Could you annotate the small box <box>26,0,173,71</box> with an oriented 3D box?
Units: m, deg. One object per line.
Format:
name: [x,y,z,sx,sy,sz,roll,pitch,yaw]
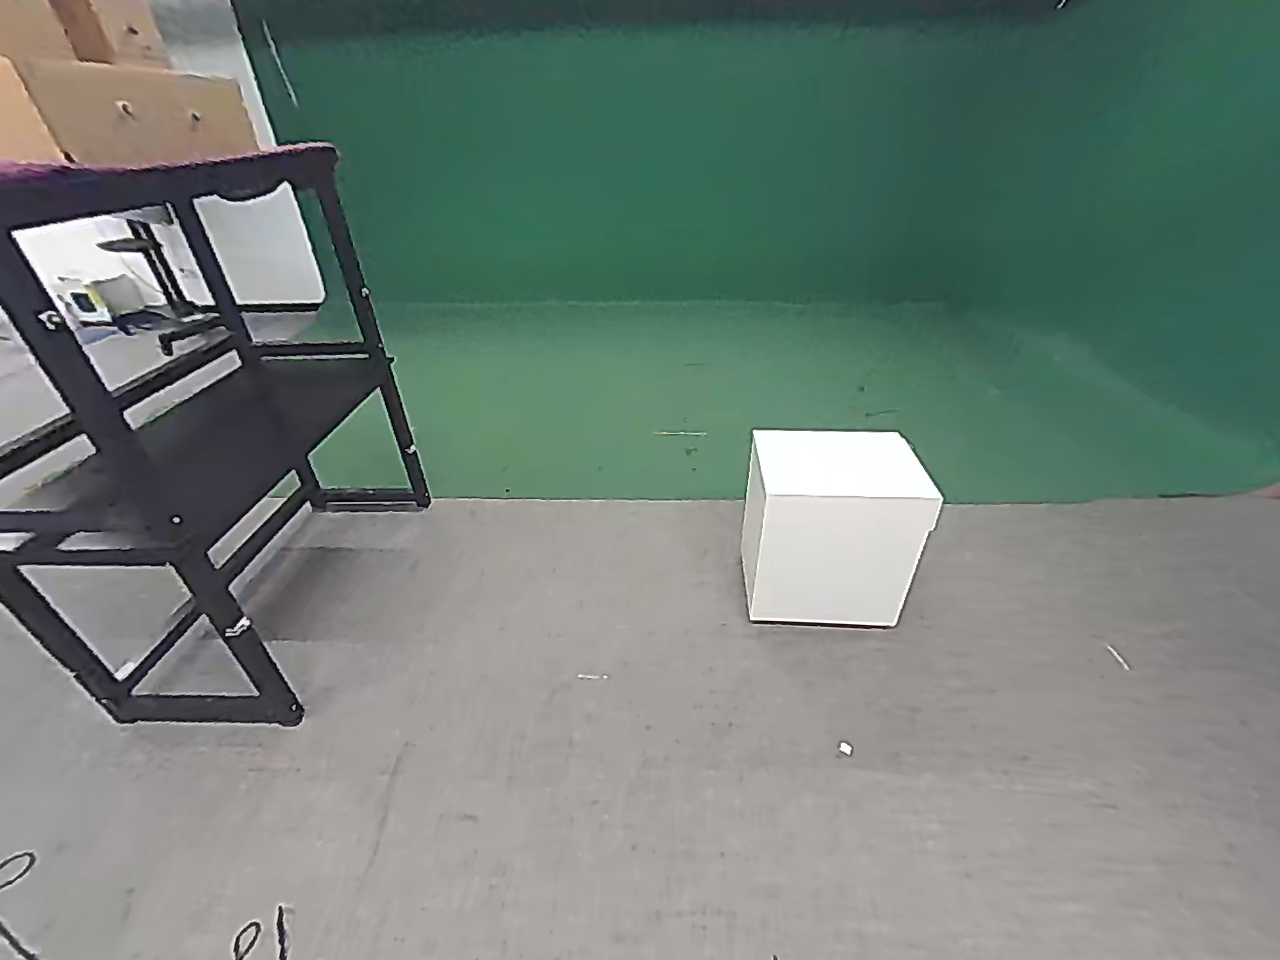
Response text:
small box: [-1.278,-1.074,1.273,0.179,0.176,0.168,1,36,4]
